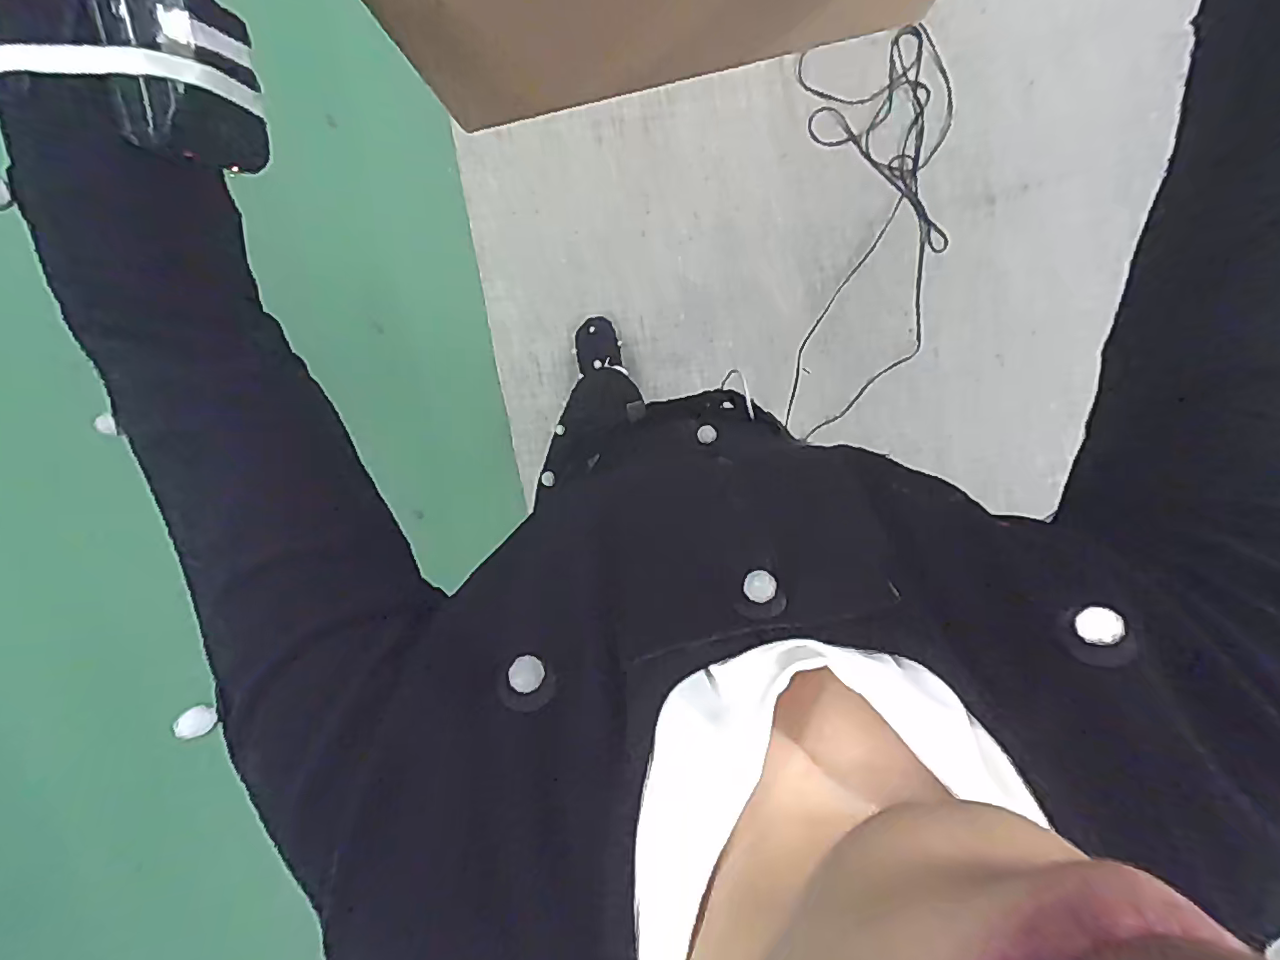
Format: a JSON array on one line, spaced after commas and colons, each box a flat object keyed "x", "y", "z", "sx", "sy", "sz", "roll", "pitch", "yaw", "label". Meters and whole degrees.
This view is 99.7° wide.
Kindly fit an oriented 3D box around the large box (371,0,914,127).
[{"x": -0.005, "y": -0.476, "z": 0.302, "sx": 0.408, "sy": 0.320, "sz": 0.320, "roll": -11, "pitch": 98, "yaw": 4, "label": "large box"}]
